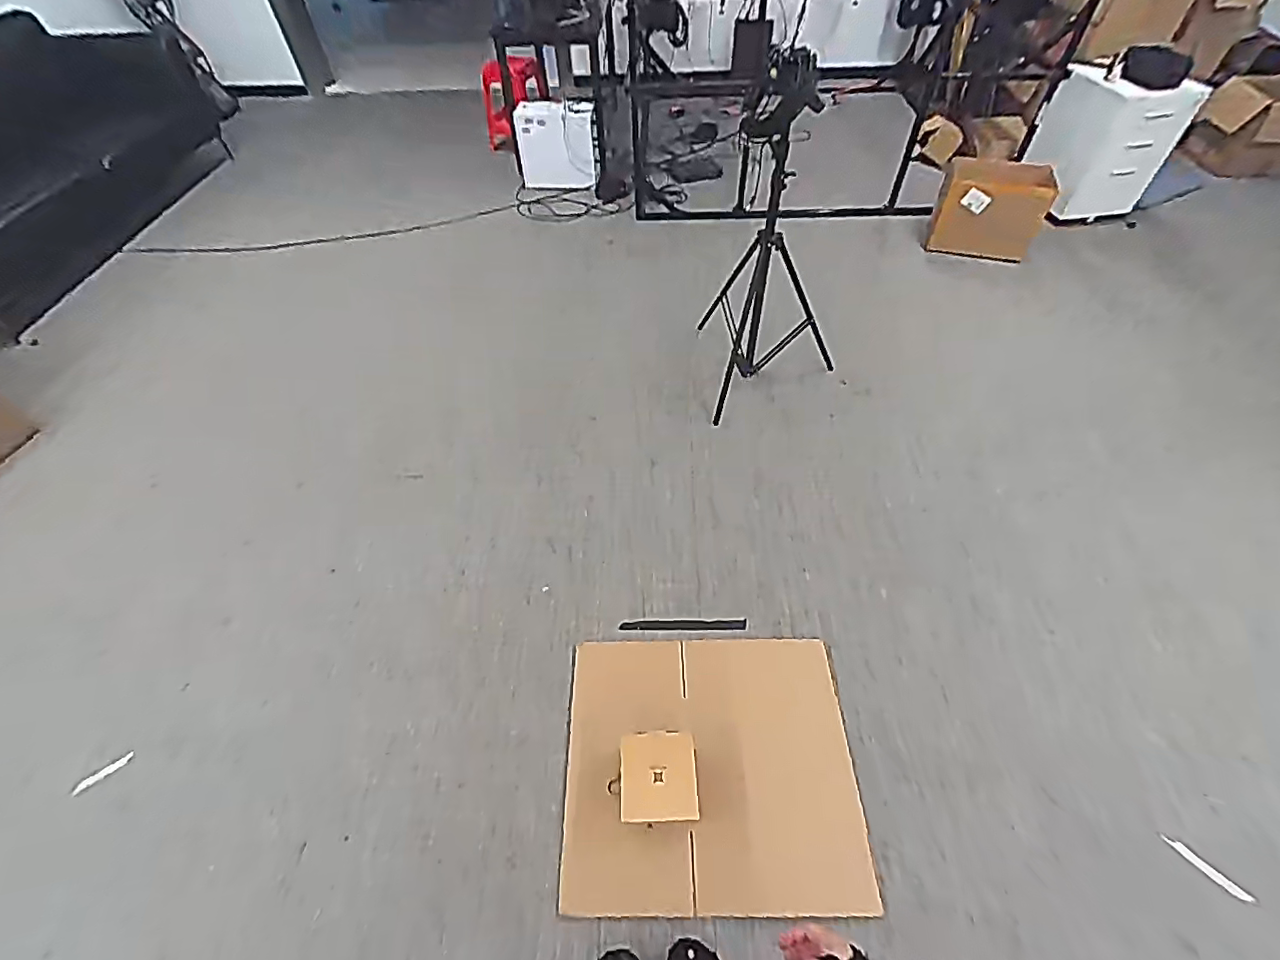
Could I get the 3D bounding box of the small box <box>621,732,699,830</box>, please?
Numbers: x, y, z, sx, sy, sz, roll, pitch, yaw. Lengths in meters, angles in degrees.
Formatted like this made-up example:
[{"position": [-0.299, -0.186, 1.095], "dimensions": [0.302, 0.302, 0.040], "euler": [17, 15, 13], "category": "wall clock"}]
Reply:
[{"position": [0.043, 0.689, 1.233], "dimensions": [0.168, 0.176, 0.179], "euler": [-3, 52, 0], "category": "small box"}]
